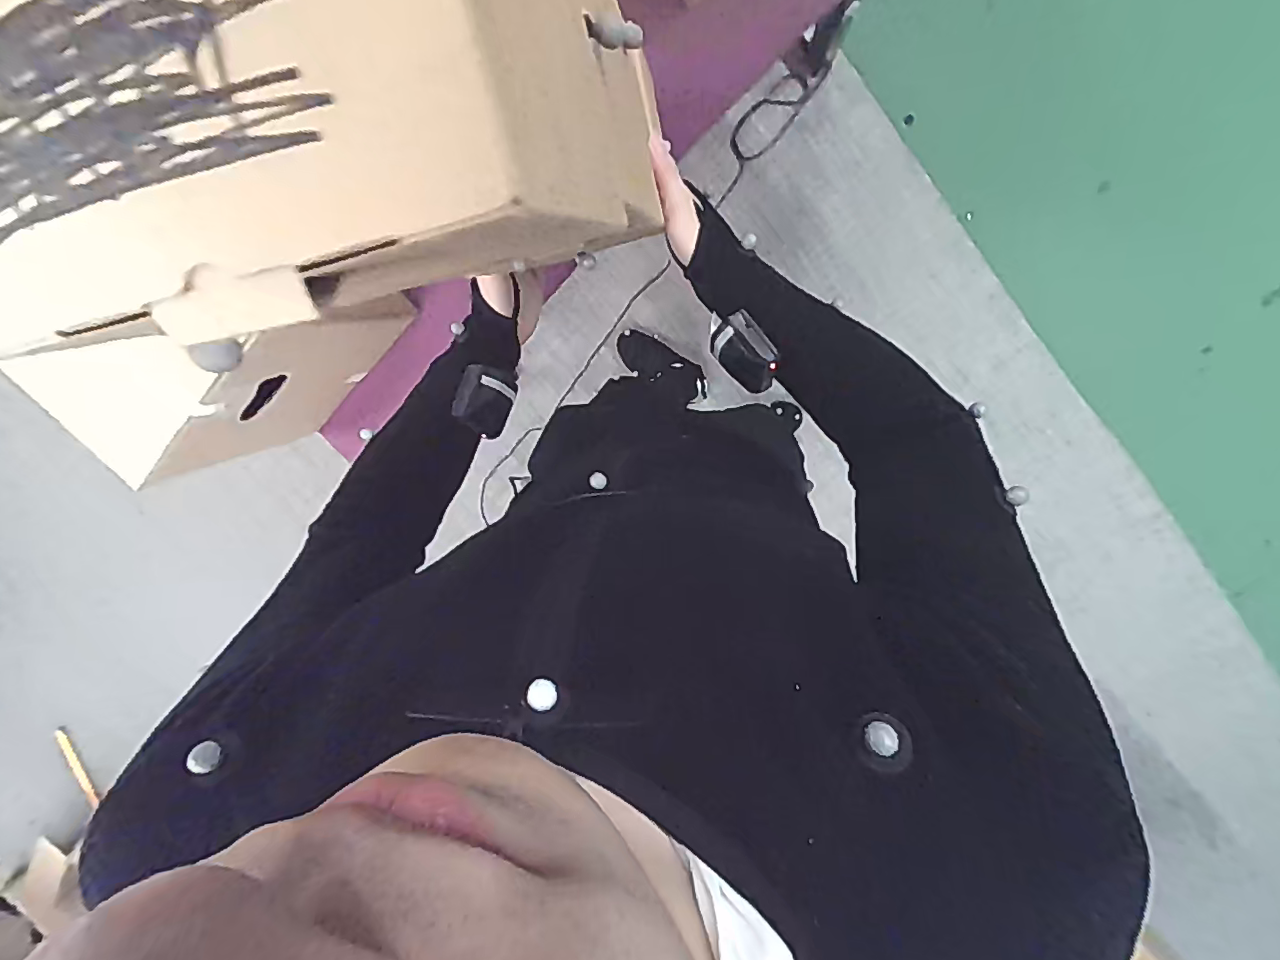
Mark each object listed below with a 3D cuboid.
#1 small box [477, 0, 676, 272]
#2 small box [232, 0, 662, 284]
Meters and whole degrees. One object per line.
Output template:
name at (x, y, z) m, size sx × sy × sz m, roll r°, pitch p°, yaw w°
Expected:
small box at (-0.068, -0.290, 0.465) m, size 0.168 × 0.176 × 0.179 m, roll -10°, pitch 112°, yaw 12°
small box at (-0.087, -0.228, 0.317) m, size 0.168 × 0.176 × 0.179 m, roll -11°, pitch 113°, yaw 11°
